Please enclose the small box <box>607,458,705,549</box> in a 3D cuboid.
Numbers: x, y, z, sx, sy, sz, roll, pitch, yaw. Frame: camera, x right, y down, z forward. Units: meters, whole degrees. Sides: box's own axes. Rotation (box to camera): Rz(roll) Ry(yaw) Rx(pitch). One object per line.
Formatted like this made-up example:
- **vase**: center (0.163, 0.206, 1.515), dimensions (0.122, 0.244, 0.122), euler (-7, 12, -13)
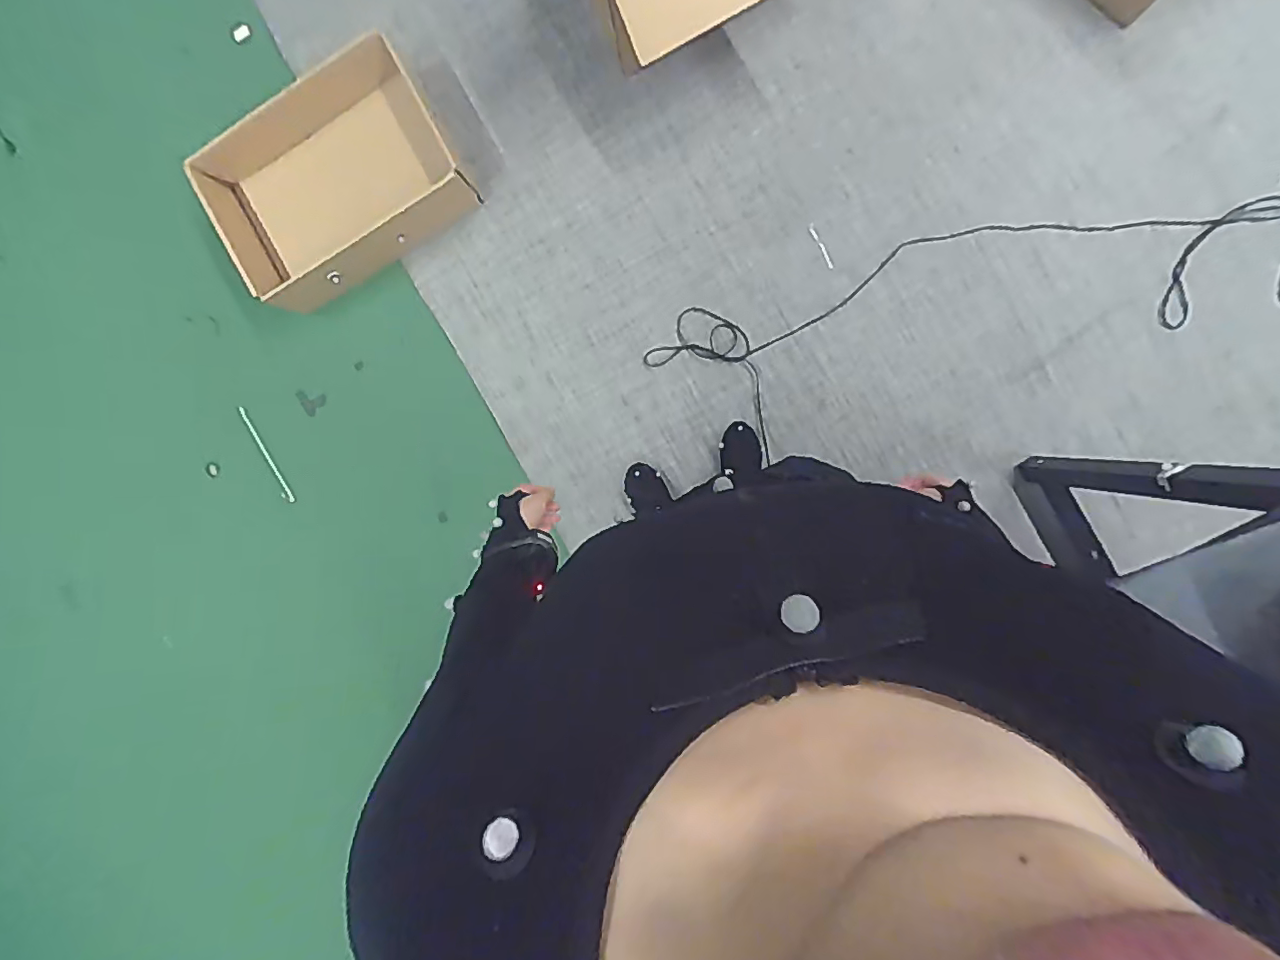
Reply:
- **small box**: center (0.045, 0.065, 1.394), dimensions (0.176, 0.168, 0.179), euler (27, 71, -24)
